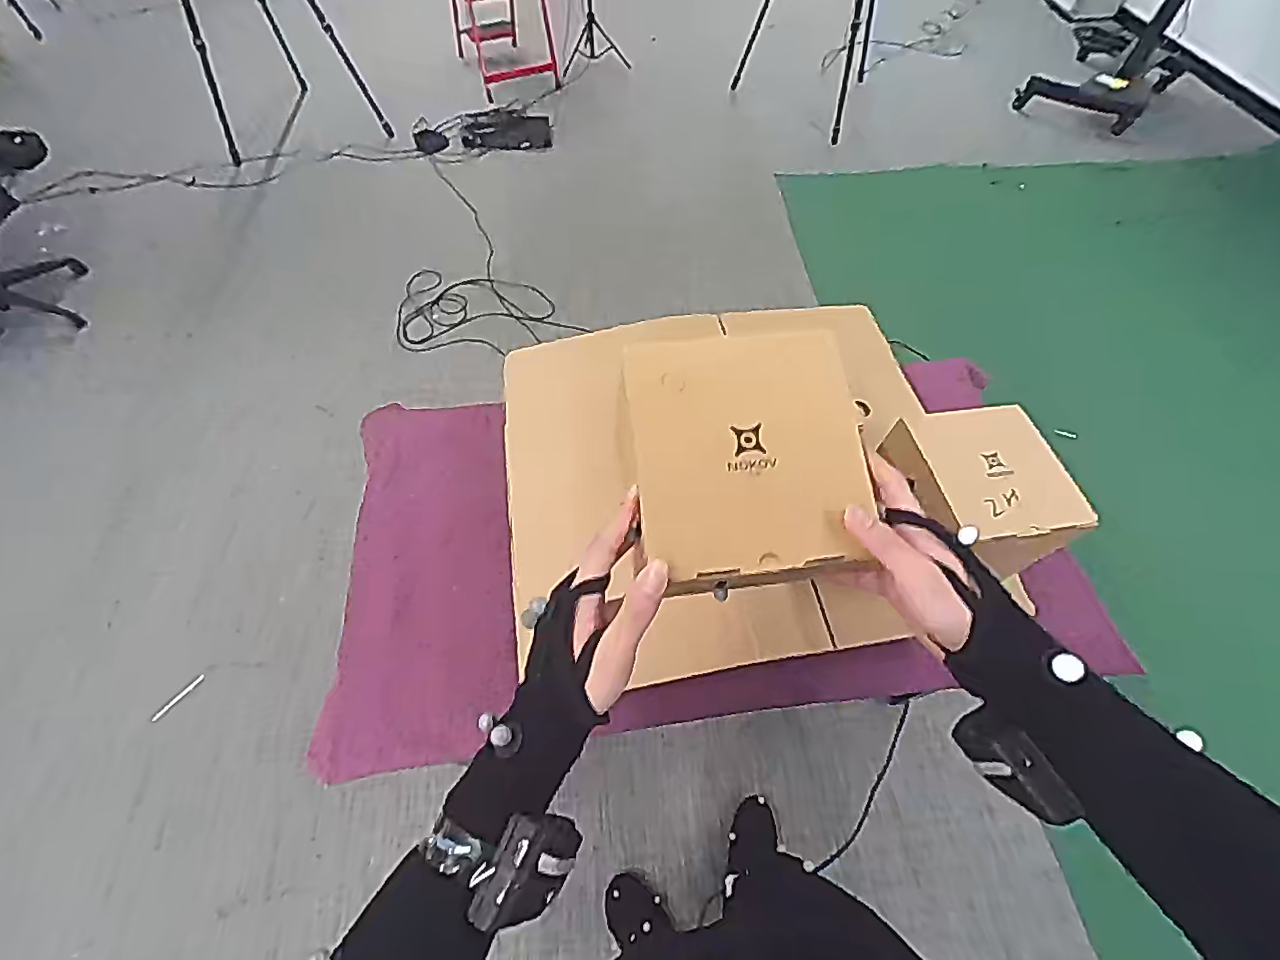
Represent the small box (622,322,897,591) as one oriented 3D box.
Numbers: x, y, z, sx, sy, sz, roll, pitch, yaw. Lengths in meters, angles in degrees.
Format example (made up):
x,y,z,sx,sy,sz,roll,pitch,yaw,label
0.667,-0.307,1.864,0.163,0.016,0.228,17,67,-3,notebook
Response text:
x,y,z,sx,sy,sz,roll,pitch,yaw,label
0.077,-0.008,0.454,0.168,0.176,0.179,-6,76,-6,small box
